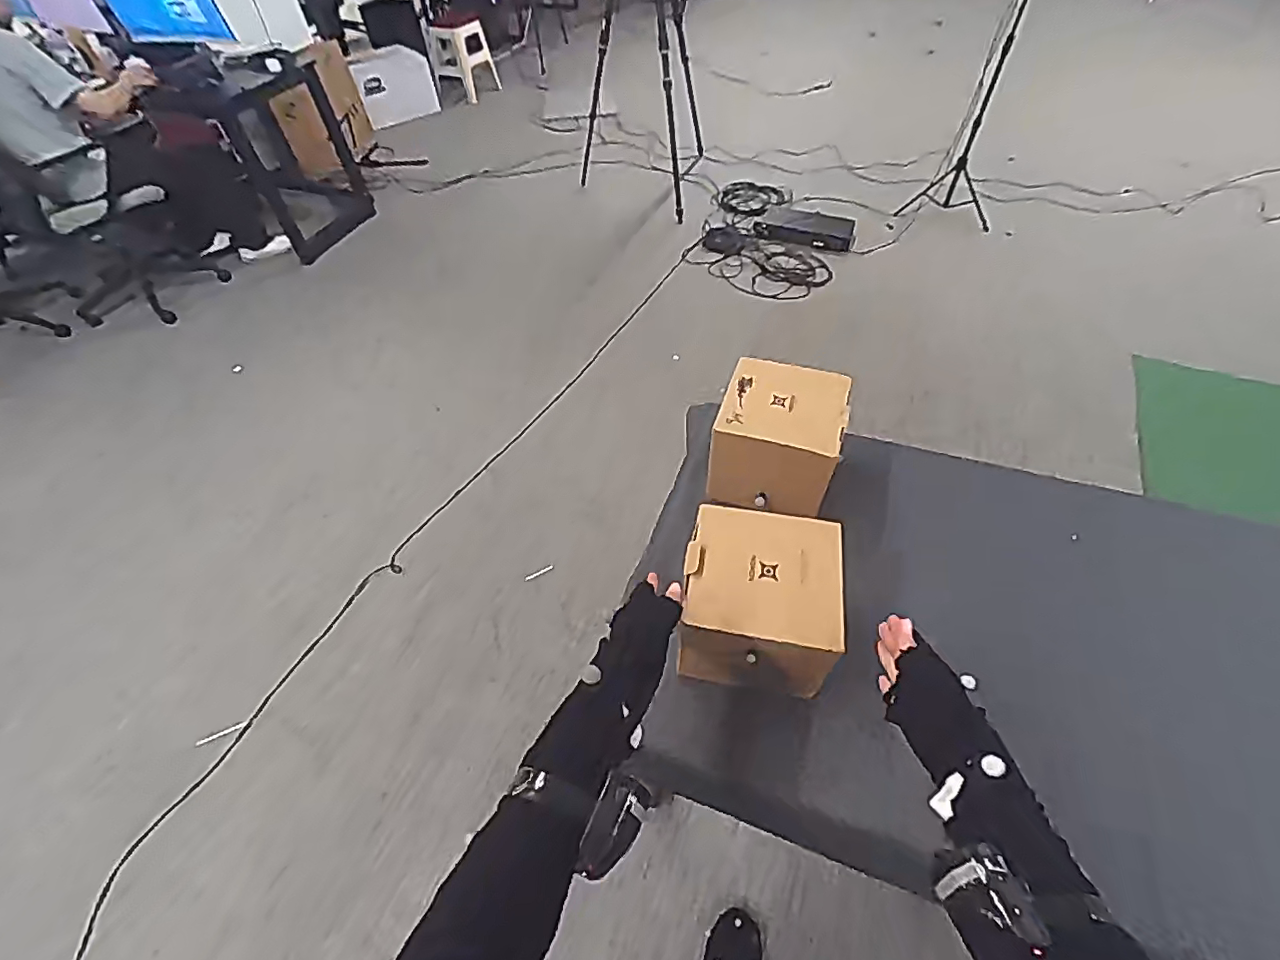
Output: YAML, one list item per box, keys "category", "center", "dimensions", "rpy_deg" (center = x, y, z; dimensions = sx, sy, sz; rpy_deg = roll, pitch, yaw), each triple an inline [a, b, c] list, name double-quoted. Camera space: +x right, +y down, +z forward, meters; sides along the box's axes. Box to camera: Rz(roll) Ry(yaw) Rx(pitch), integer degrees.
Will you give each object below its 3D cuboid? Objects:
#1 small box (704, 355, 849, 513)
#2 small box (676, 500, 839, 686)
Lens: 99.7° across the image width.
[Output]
- category: "small box"
  center: [0.210, -0.066, 0.856]
  dimensions: [0.179, 0.176, 0.168]
  rpy_deg: [15, 55, 13]
- category: "small box"
  center: [0.144, 0.149, 0.695]
  dimensions: [0.179, 0.176, 0.168]
  rpy_deg: [8, 54, 7]
